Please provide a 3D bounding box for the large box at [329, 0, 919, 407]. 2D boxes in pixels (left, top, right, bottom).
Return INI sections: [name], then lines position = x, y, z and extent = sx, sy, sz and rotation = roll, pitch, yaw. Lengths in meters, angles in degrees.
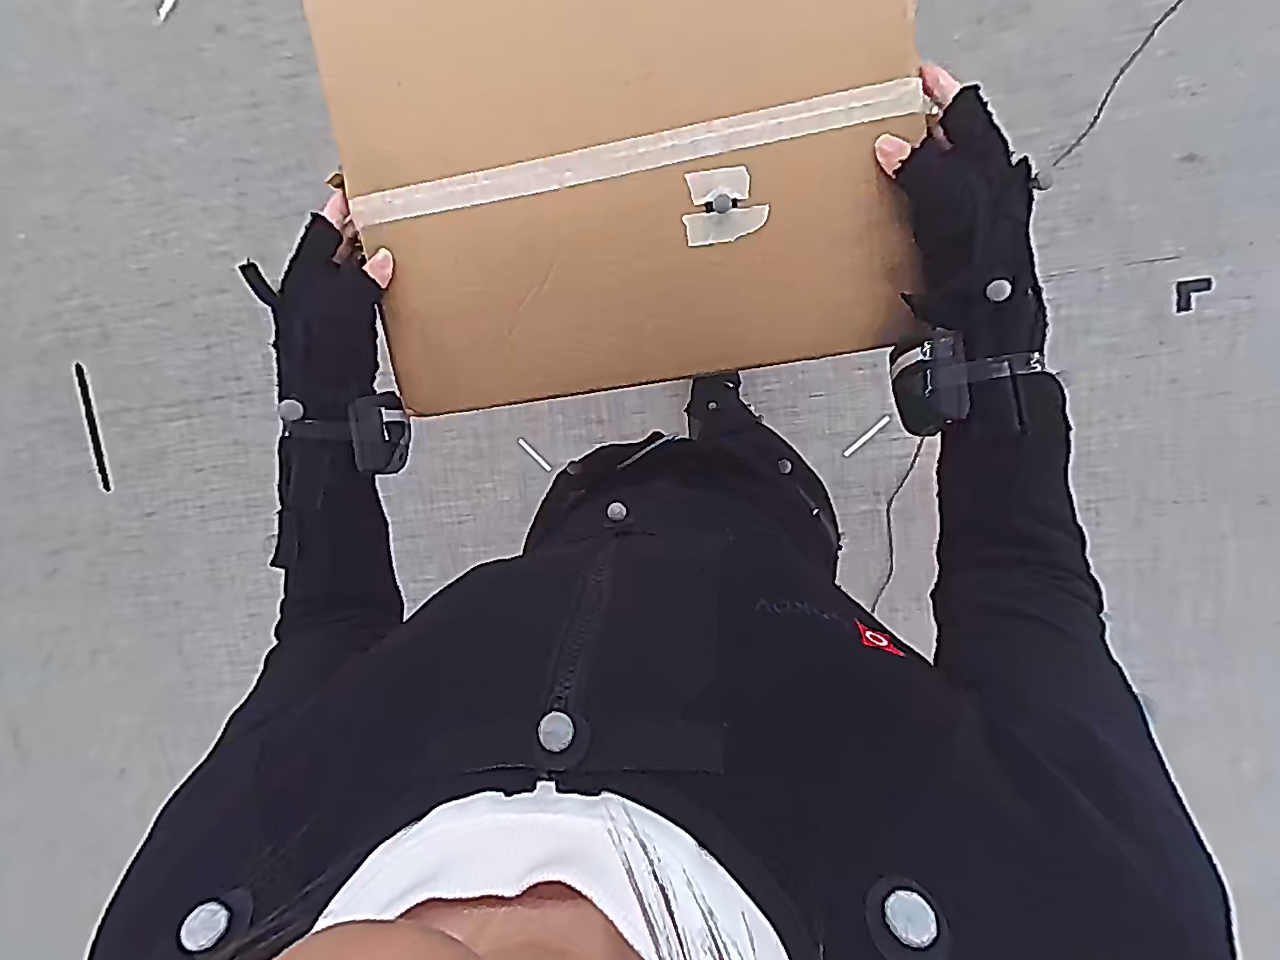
[large box]
position = 0.002, -0.266, 0.542
extent = 0.408, 0.320, 0.320
rotation = -8, 102, 7
